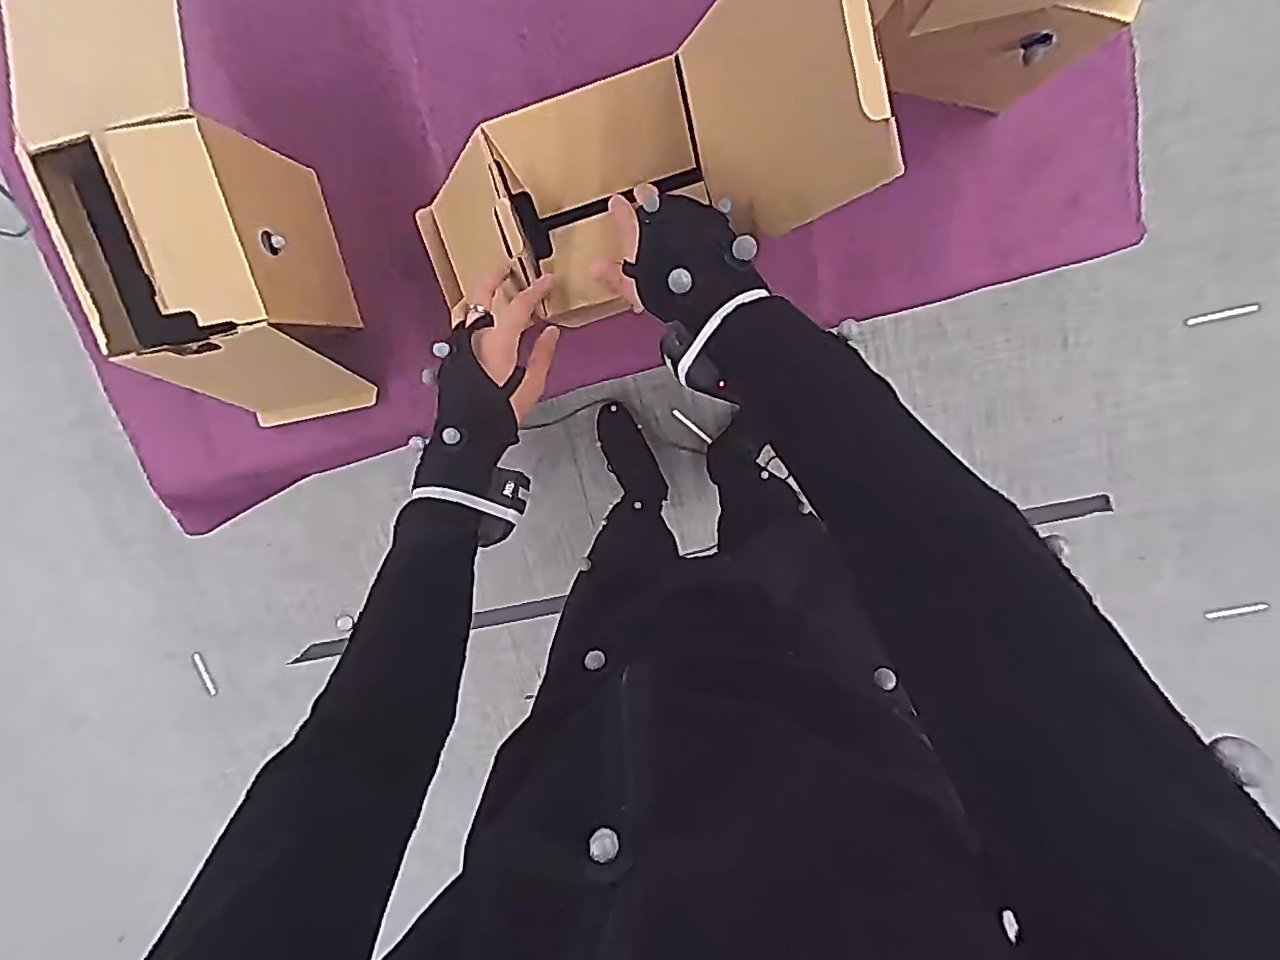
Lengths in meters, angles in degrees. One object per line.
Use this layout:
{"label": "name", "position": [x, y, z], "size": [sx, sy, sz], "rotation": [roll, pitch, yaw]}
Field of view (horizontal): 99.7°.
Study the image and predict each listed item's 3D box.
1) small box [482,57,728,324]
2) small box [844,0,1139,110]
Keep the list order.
{"label": "small box", "position": [-0.024, -0.258, 0.532], "size": [0.179, 0.176, 0.168], "rotation": [-16, 103, 5]}
{"label": "small box", "position": [0.306, -0.454, 0.466], "size": [0.179, 0.176, 0.168], "rotation": [12, 104, 0]}
